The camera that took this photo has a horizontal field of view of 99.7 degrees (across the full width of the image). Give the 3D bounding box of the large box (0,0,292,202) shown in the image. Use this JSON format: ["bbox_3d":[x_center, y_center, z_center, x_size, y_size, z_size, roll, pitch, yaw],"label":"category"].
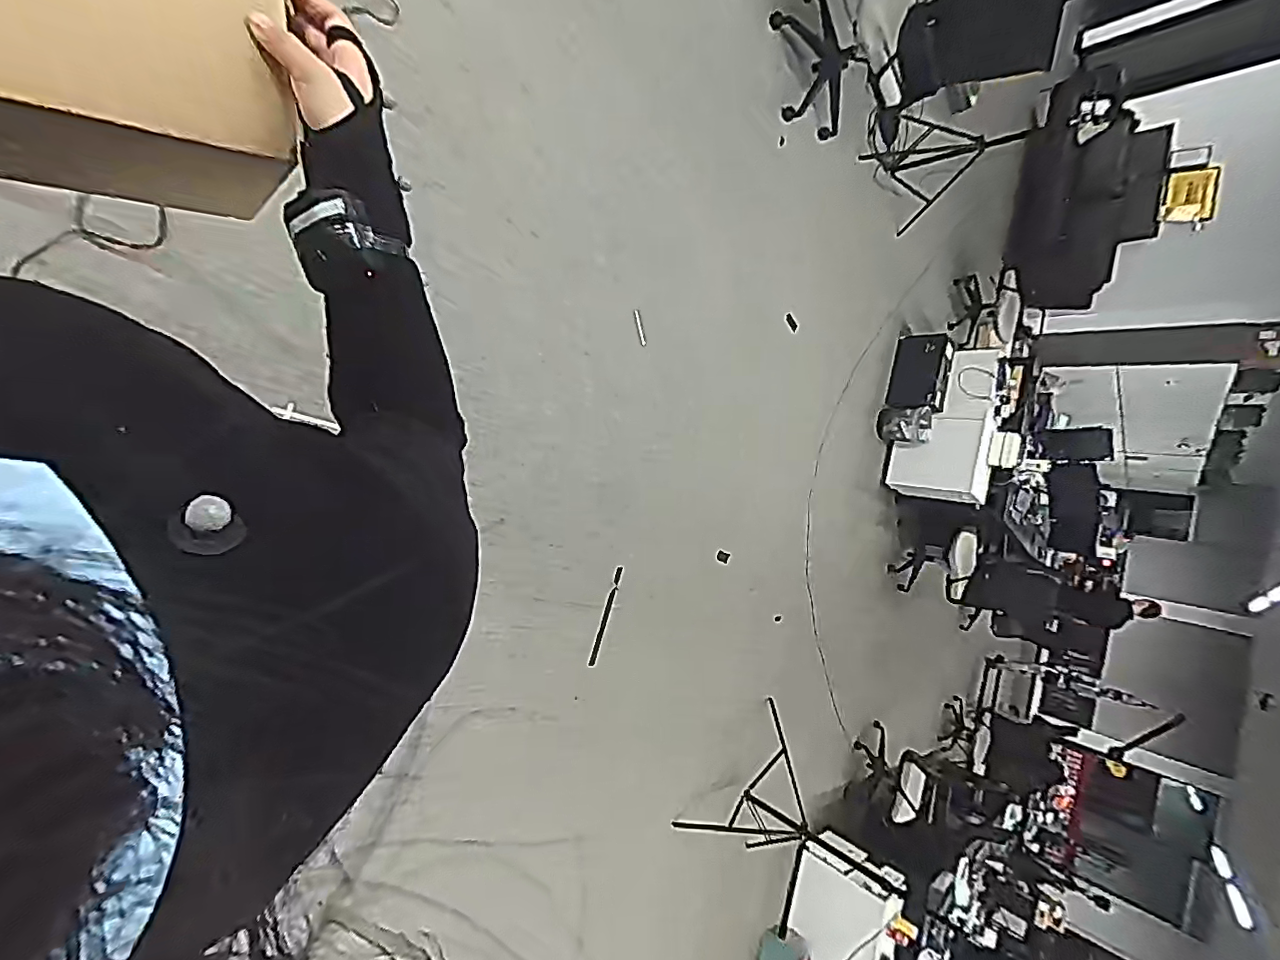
[{"bbox_3d":[-0.517,-0.422,0.384,0.408,0.320,0.320,-8,106,-39],"label":"large box"}]
